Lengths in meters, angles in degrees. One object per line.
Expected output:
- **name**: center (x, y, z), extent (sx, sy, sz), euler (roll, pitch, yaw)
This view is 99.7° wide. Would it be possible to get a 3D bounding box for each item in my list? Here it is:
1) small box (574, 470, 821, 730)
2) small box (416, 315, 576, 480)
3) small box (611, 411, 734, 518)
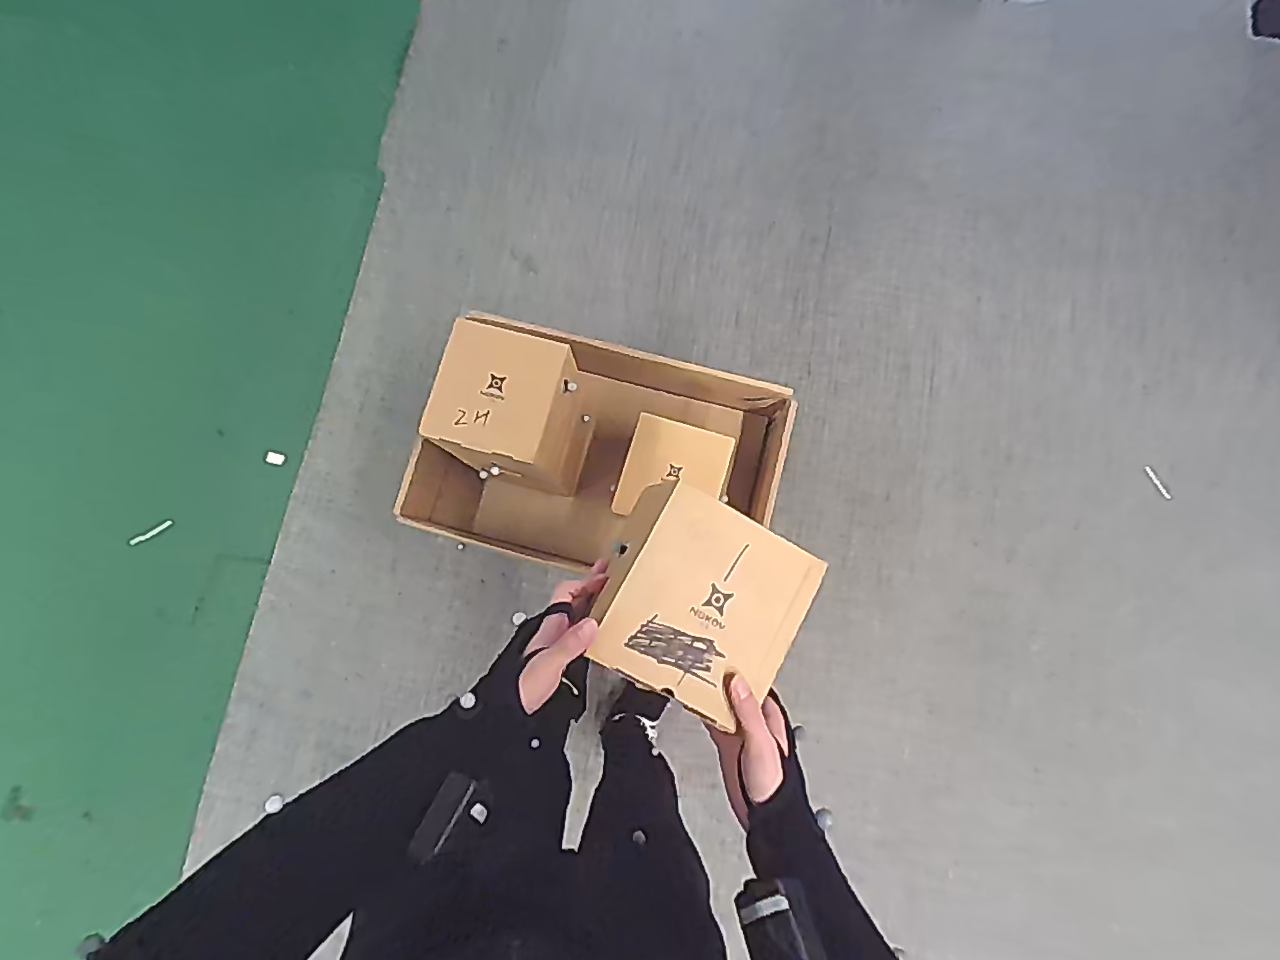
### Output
- **small box**: center (0.044, 0.110, 0.552), extent (0.168, 0.176, 0.179), euler (31, 82, -7)
- **small box**: center (-0.199, -0.113, 0.807), extent (0.168, 0.176, 0.179), euler (15, 81, 3)
- **small box**: center (0.054, 0.002, 0.954), extent (0.168, 0.176, 0.179), euler (16, 82, 3)
